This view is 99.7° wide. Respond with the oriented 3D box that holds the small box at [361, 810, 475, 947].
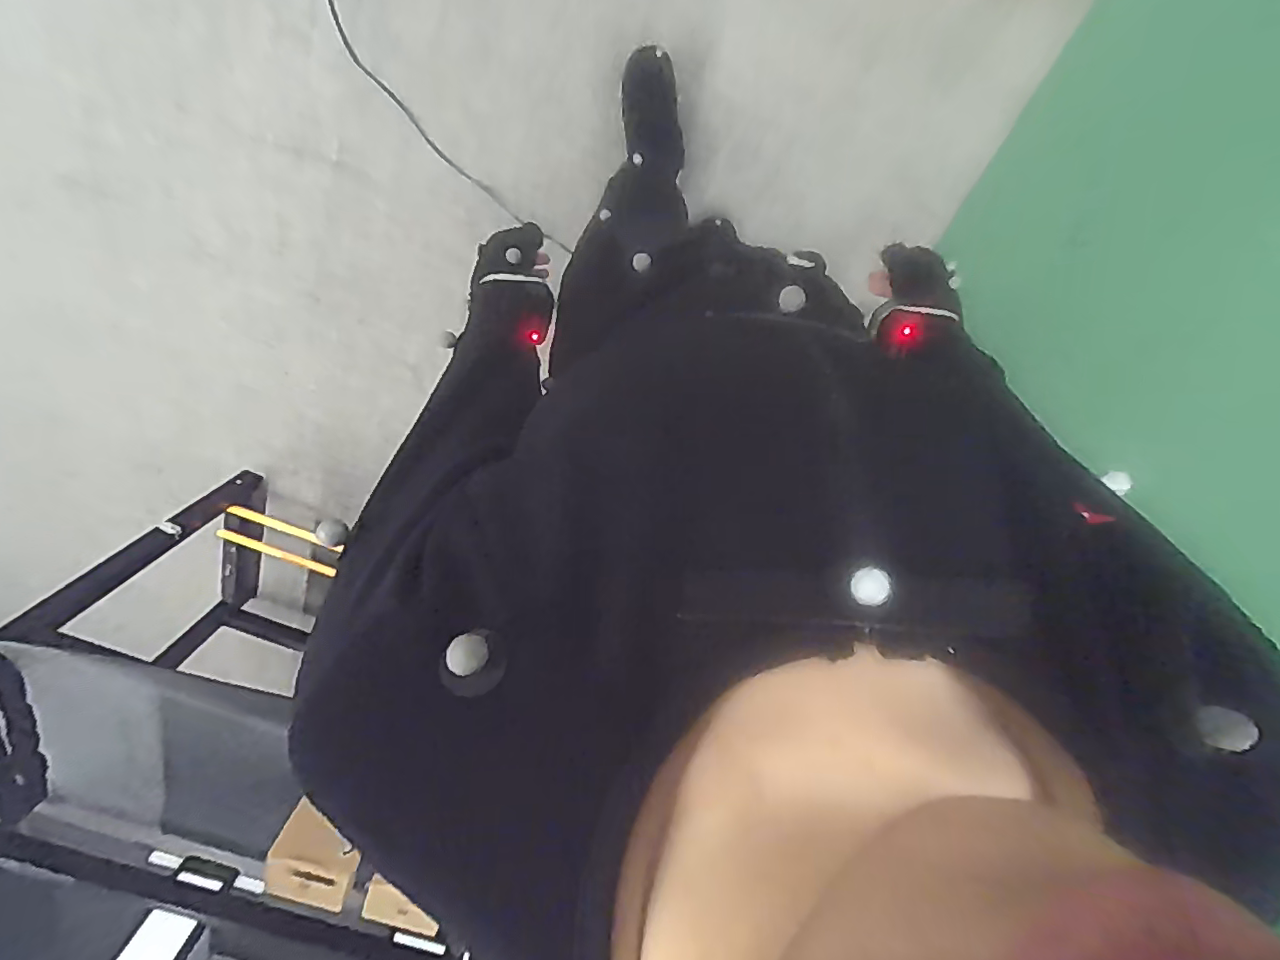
[{"bbox_3d":[-0.479,0.866,1.182,0.168,0.176,0.179,21,118,-6],"label":"small box"}]
